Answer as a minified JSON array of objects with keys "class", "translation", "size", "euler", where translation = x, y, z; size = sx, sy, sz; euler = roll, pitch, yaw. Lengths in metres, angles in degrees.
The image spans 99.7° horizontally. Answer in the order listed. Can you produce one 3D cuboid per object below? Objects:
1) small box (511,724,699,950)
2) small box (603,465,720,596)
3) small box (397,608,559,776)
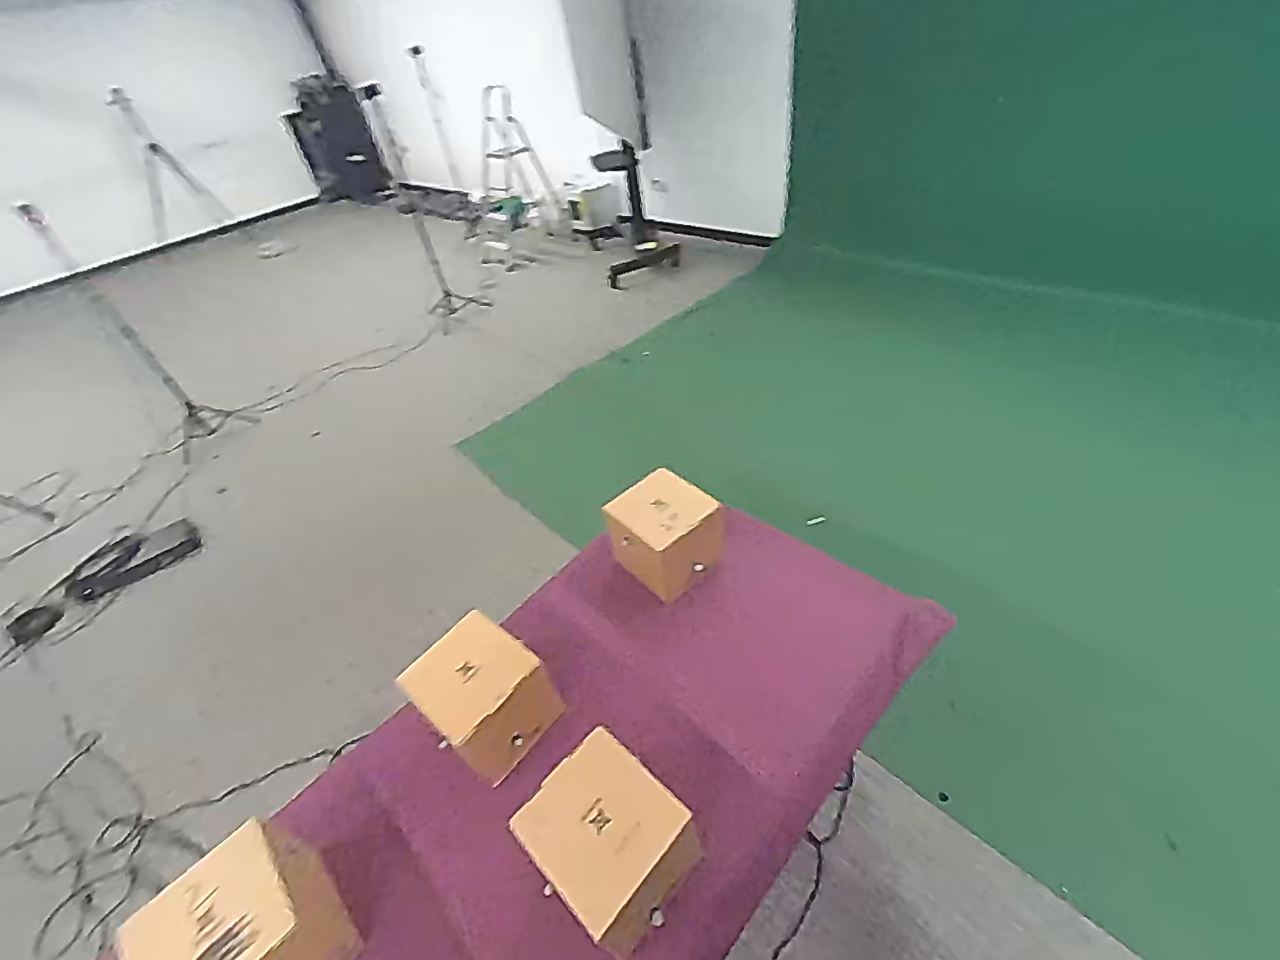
[{"class":"small box","translation":[-0.040,0.480,0.728],"size":[0.179,0.176,0.168],"euler":[29,56,36]},{"class":"small box","translation":[0.048,0.105,1.118],"size":[0.168,0.176,0.179],"euler":[-35,48,-24]},{"class":"small box","translation":[-0.263,0.357,0.909],"size":[0.179,0.176,0.168],"euler":[25,52,31]}]
